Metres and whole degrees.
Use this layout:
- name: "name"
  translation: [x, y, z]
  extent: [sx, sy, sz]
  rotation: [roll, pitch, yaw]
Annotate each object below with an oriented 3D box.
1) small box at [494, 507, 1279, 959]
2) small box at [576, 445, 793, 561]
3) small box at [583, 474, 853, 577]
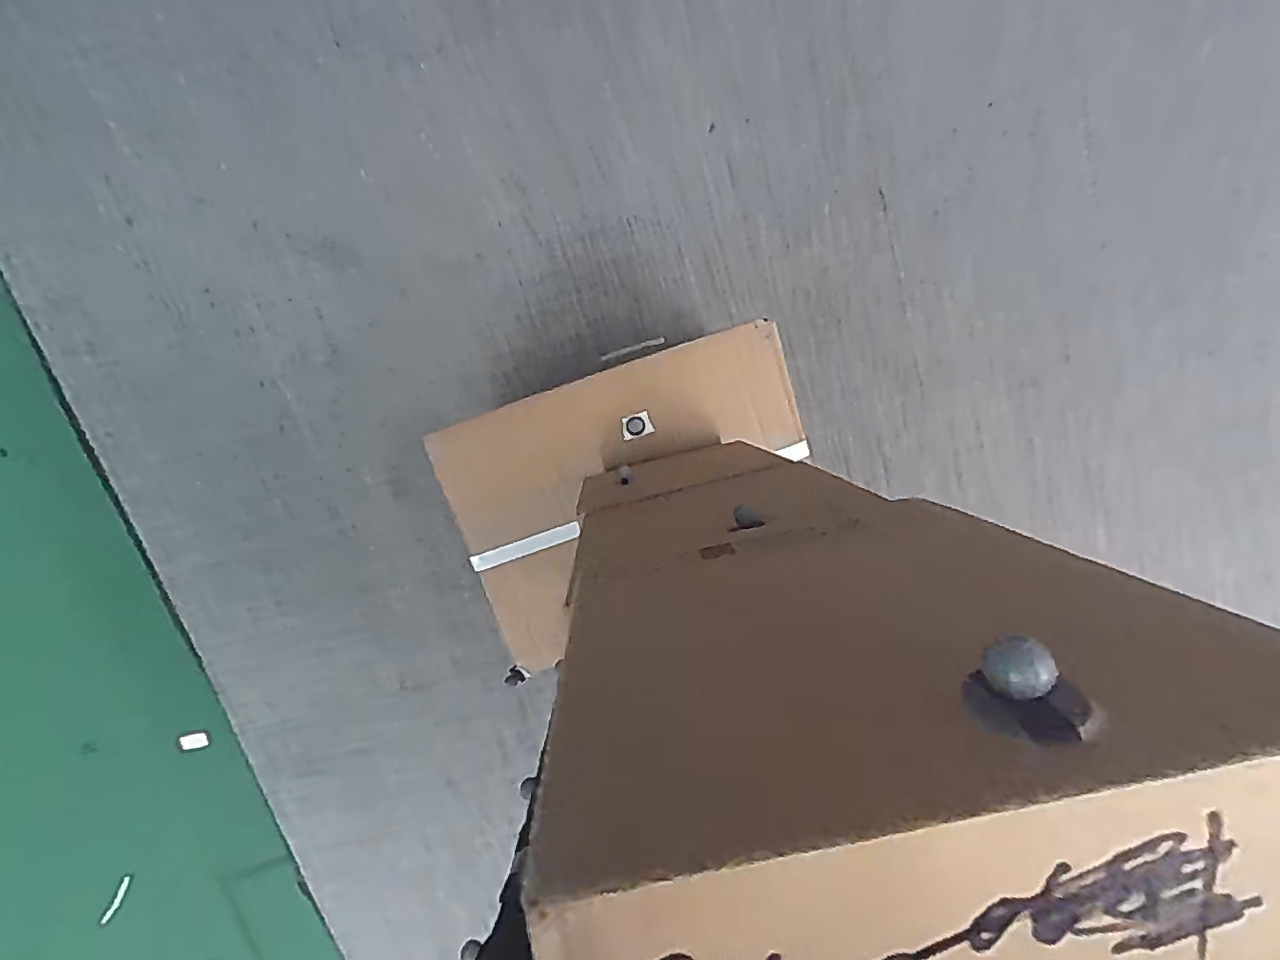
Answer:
- name: "small box"
  translation: [0.067, 0.124, 0.189]
  extent: [0.168, 0.176, 0.179]
  rotation: [-11, 101, 1]
- name: "small box"
  translation: [0.047, 0.072, 0.512]
  extent: [0.179, 0.176, 0.168]
  rotation: [-14, 102, -2]
- name: "small box"
  translation: [0.065, 0.104, 0.352]
  extent: [0.179, 0.176, 0.168]
  rotation: [-17, 100, 0]
